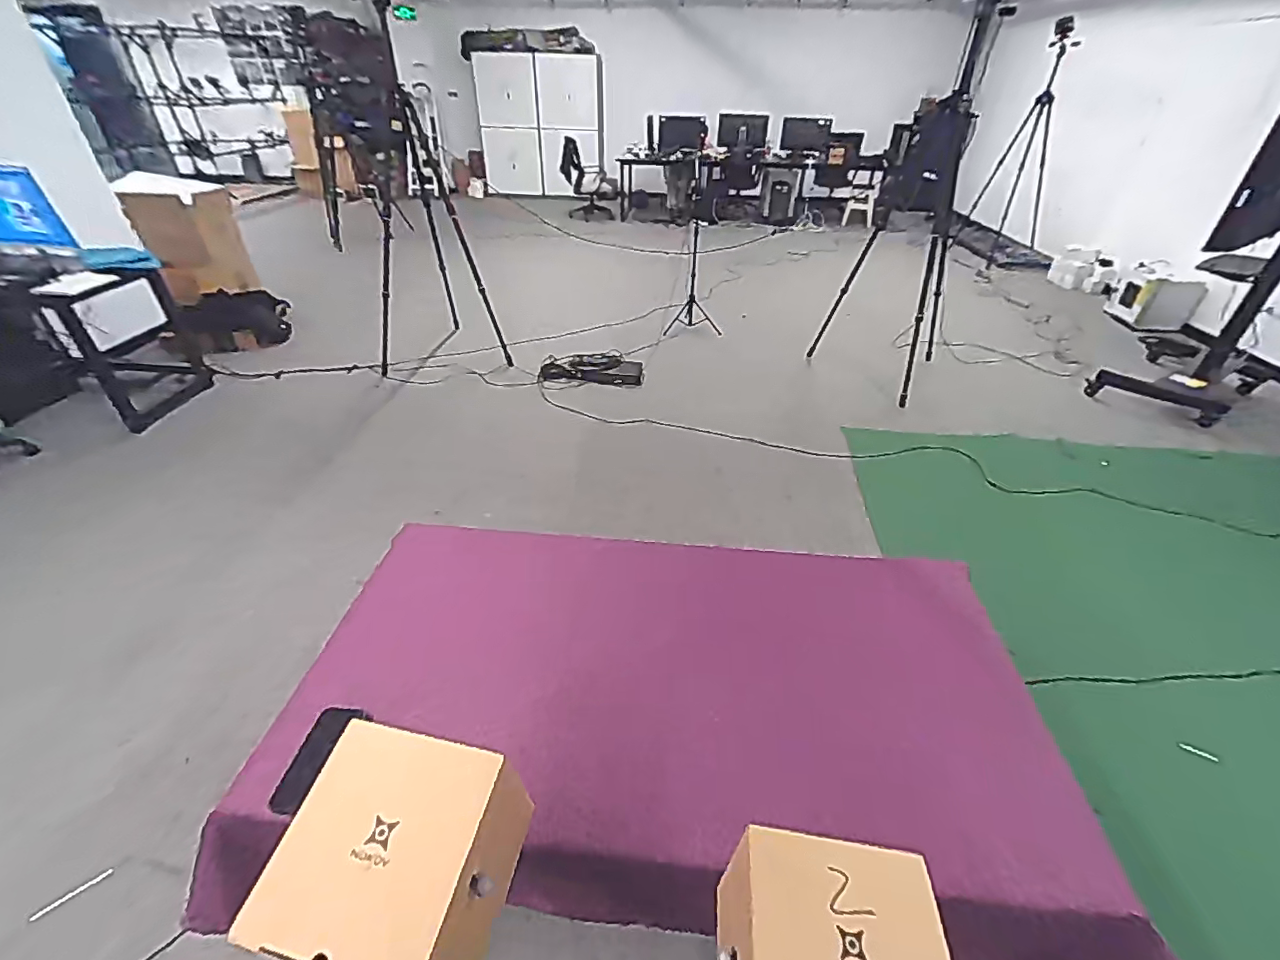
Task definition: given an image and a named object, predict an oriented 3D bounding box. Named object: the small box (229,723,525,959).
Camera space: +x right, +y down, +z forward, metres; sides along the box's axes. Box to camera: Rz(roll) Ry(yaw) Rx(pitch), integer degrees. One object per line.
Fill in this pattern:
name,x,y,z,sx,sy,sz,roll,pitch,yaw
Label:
small box,-0.220,0.367,0.517,0.168,0.176,0.179,9,48,10
